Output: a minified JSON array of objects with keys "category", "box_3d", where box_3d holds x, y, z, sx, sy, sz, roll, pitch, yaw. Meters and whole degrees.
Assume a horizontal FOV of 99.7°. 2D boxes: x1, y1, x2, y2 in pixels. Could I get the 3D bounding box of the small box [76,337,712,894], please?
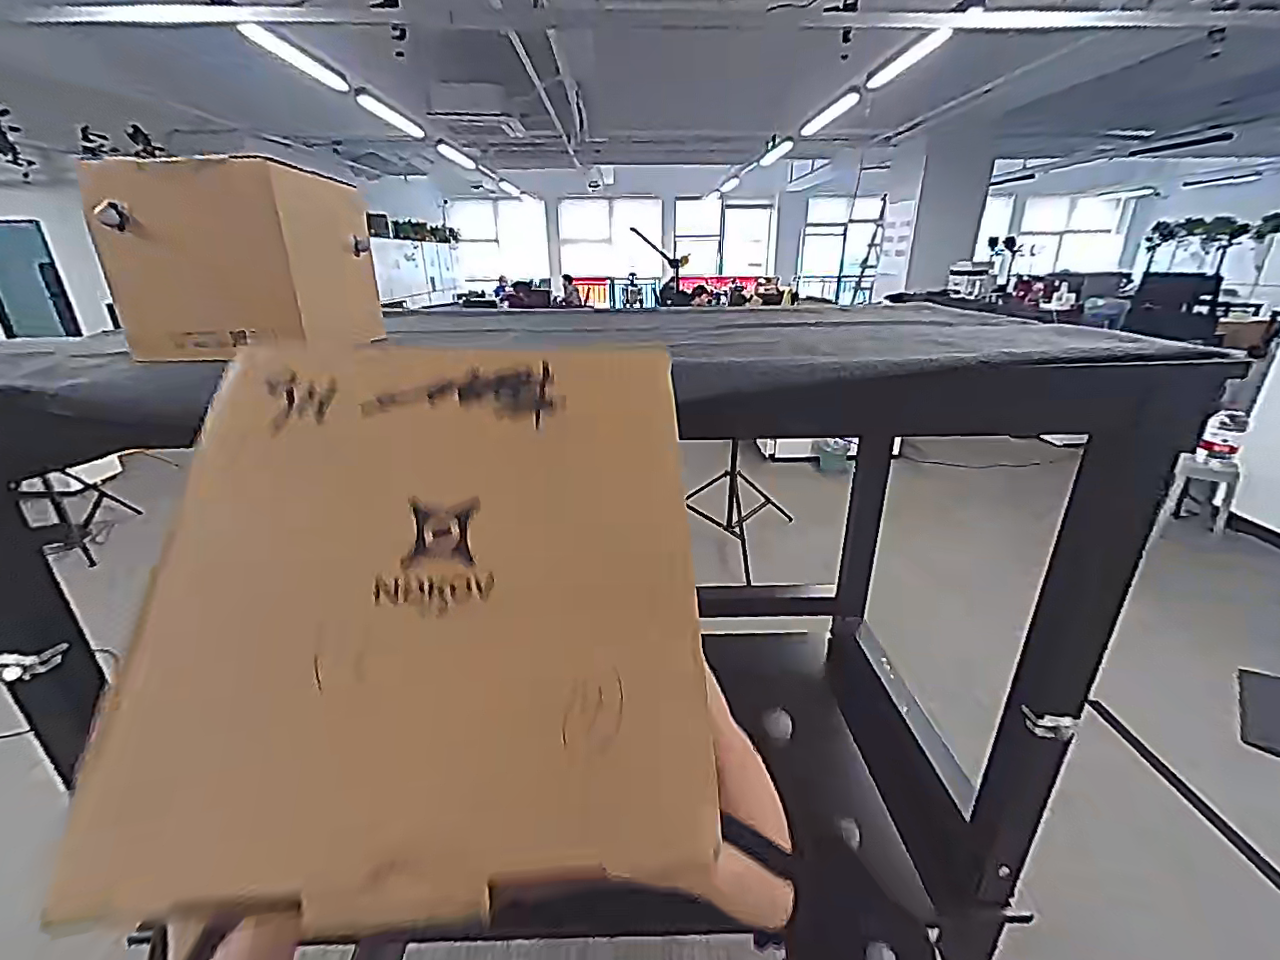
[{"category":"small box","box_3d":[-0.070,0.058,0.248,0.168,0.176,0.179,0,63,-7]}]
